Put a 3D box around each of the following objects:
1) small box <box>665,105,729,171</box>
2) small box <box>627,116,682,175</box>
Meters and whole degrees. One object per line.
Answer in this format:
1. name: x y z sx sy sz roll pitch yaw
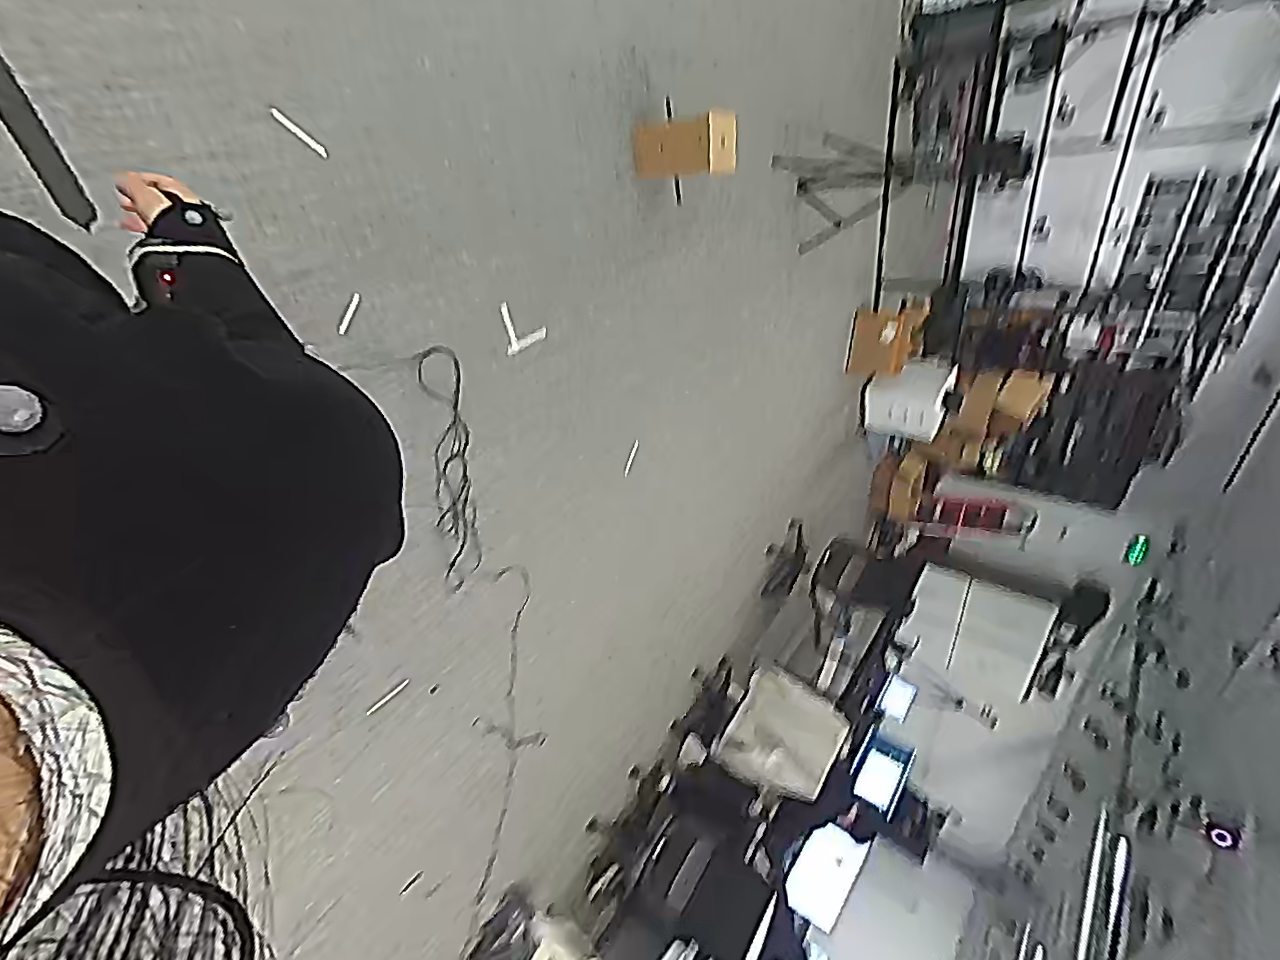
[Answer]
1. small box: 0.200 -1.204 1.912 0.168 0.176 0.179 -31 127 -40
2. small box: 0.070 -1.239 2.007 0.168 0.176 0.179 -34 129 -39
